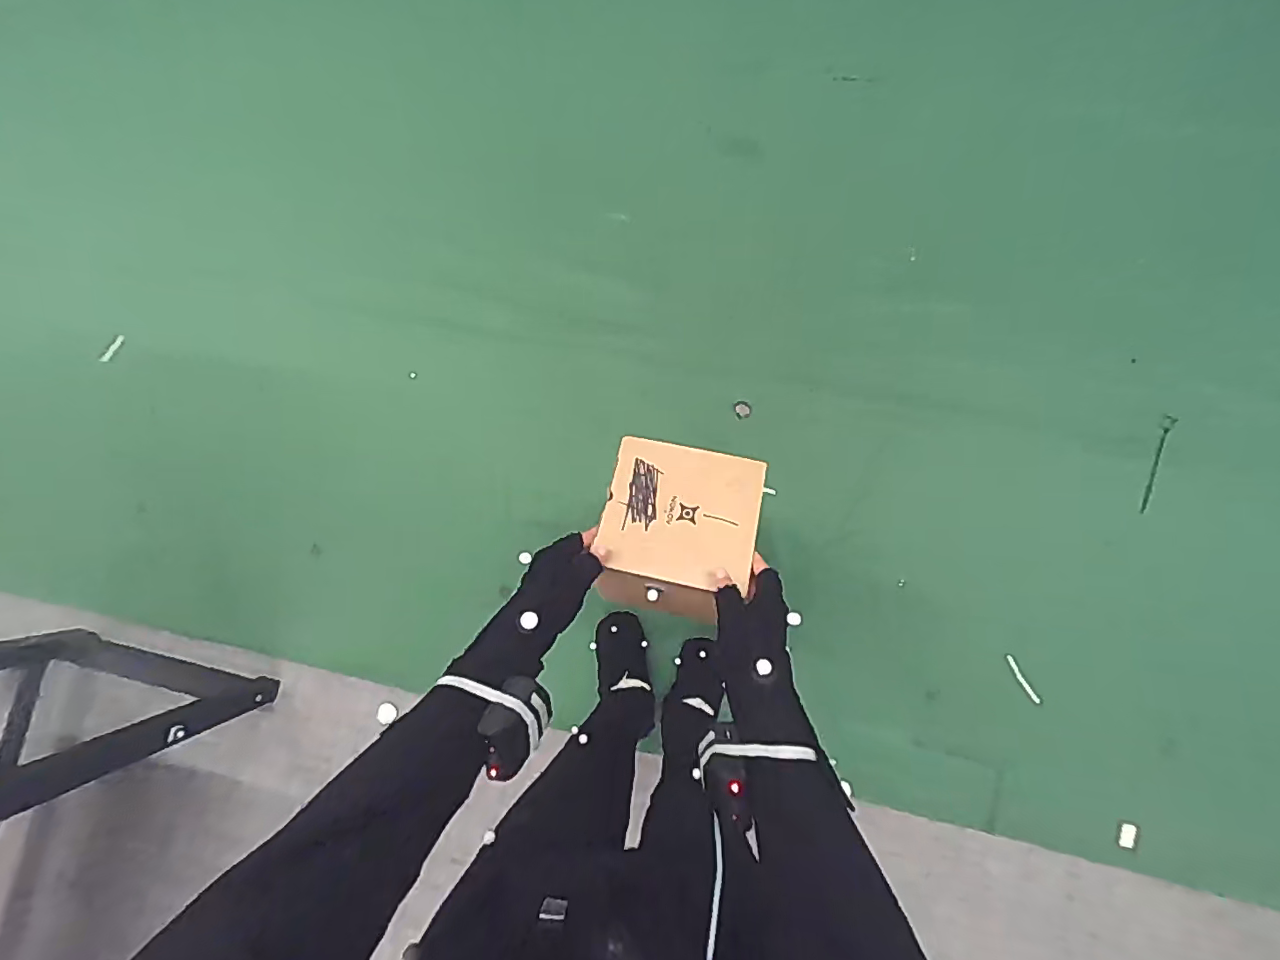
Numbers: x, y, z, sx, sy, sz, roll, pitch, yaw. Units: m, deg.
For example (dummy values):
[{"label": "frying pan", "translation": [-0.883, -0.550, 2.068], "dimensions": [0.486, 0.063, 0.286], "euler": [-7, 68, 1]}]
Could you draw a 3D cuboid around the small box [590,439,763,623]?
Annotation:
[{"label": "small box", "translation": [0.048, 0.070, 0.675], "dimensions": [0.179, 0.176, 0.168], "euler": [8, 63, 6]}]
